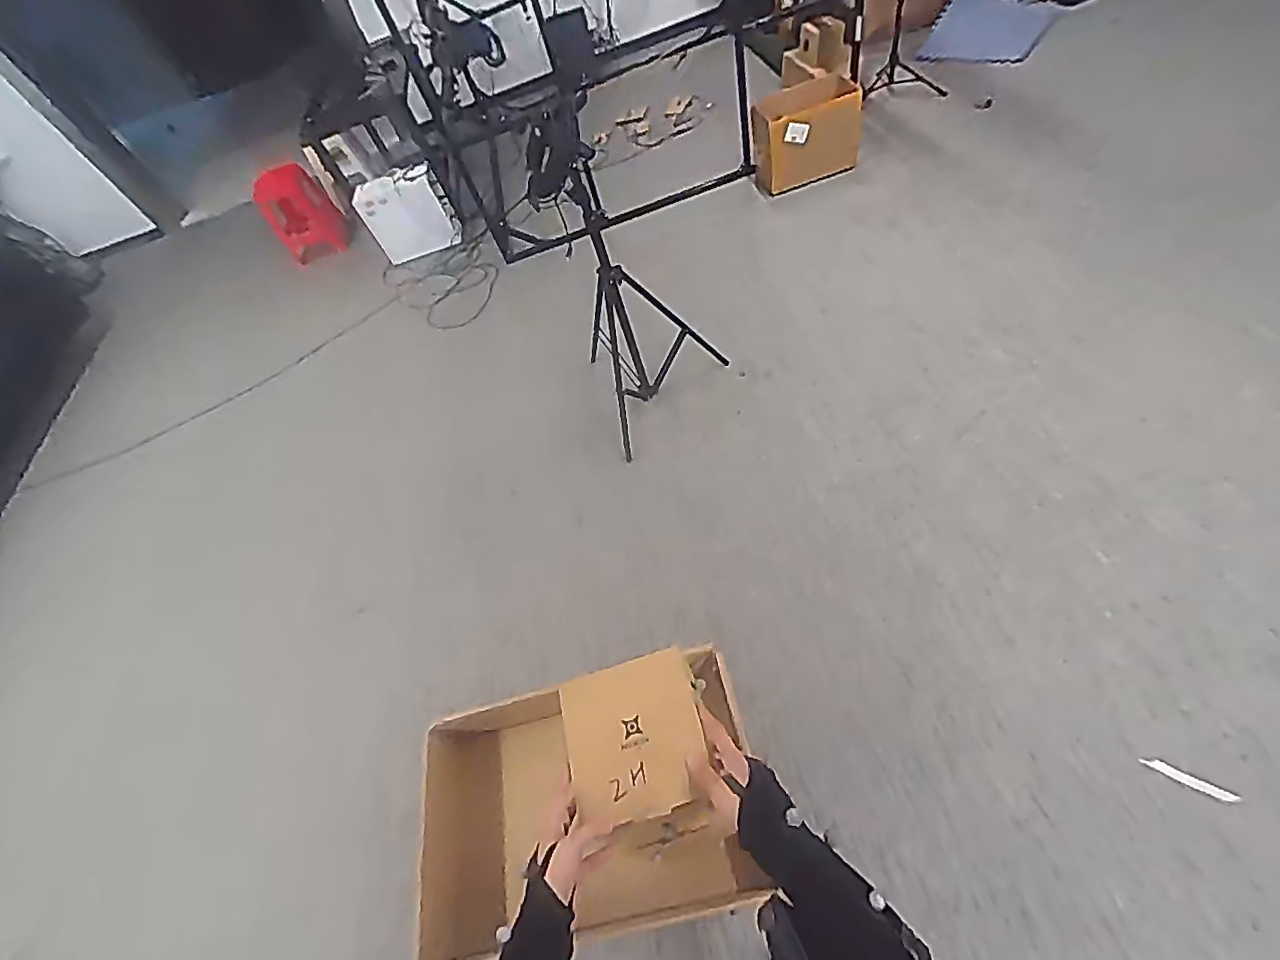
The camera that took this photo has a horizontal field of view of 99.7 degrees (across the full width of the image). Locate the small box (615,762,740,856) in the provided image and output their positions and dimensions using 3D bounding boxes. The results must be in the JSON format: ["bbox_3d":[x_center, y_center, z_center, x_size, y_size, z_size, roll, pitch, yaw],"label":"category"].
[{"bbox_3d":[0.046,0.453,0.832,0.168,0.176,0.179,-19,53,2],"label":"small box"}]

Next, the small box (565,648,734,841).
[{"bbox_3d":[0.015,0.350,0.708,0.168,0.176,0.179,-19,54,2],"label":"small box"}]
